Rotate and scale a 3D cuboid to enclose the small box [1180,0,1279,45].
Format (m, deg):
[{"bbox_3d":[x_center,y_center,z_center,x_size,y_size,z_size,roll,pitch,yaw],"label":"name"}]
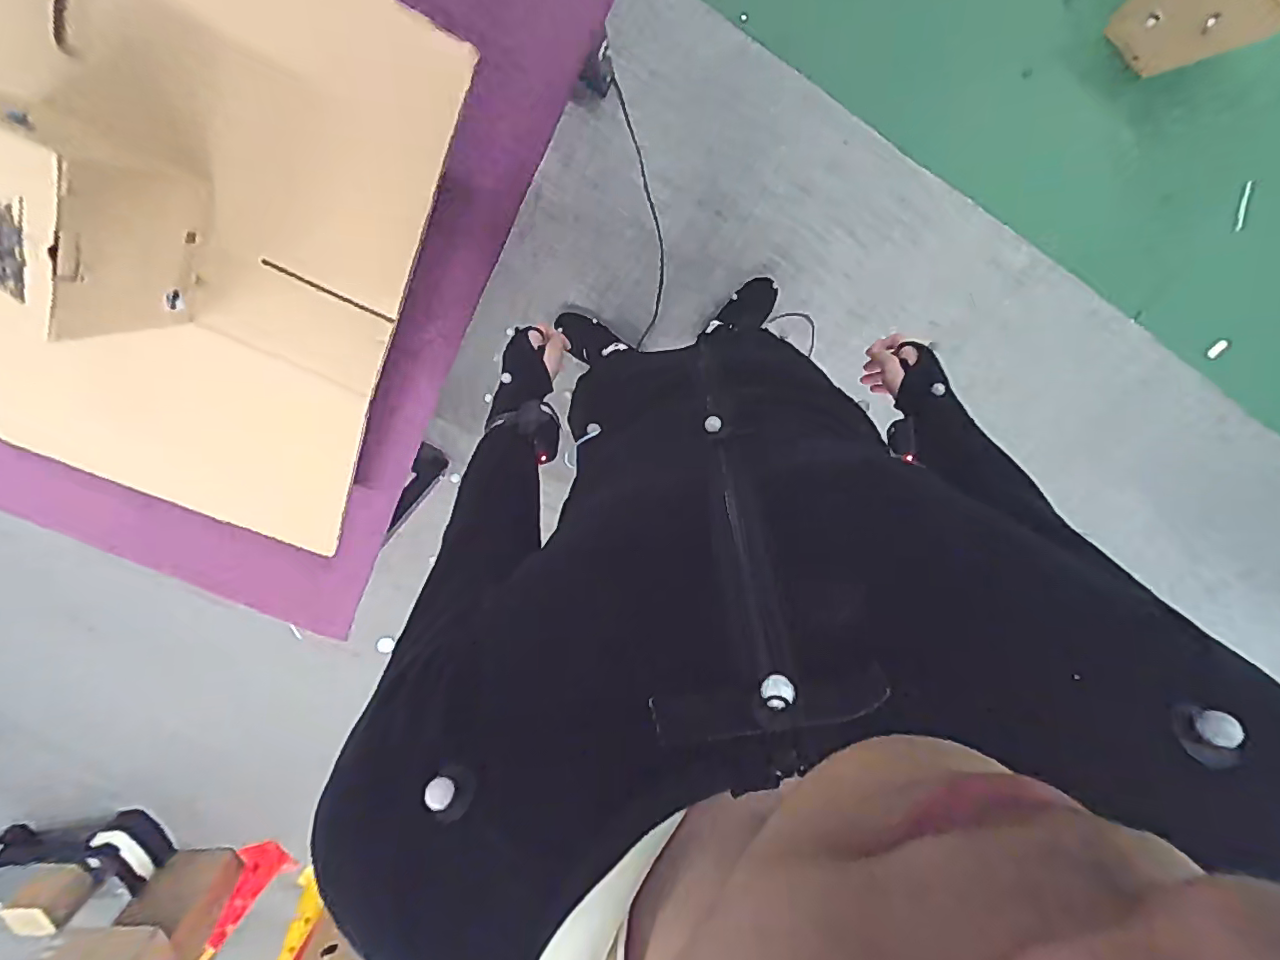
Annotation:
[{"bbox_3d":[1.182,-0.970,1.001,0.168,0.176,0.179,34,109,-13],"label":"small box"}]

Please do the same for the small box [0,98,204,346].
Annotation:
[{"bbox_3d":[-0.571,-0.251,0.517,0.179,0.176,0.168,24,110,-9],"label":"small box"}]
